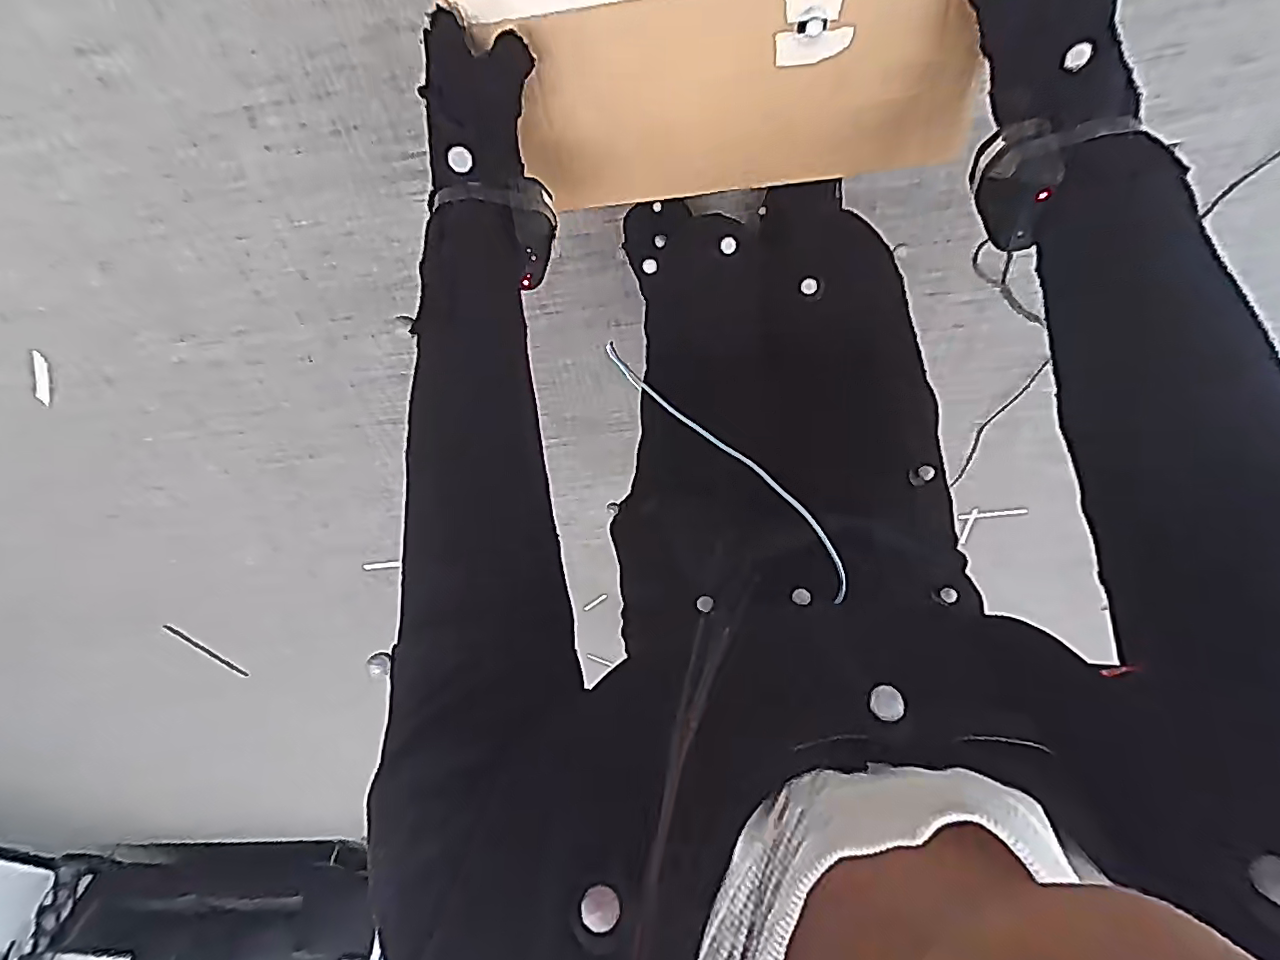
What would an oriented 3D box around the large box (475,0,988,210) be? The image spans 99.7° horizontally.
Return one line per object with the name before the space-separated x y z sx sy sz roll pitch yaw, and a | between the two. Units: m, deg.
large box | 0.068 -0.493 0.509 0.408 0.320 0.320 -5 135 7
